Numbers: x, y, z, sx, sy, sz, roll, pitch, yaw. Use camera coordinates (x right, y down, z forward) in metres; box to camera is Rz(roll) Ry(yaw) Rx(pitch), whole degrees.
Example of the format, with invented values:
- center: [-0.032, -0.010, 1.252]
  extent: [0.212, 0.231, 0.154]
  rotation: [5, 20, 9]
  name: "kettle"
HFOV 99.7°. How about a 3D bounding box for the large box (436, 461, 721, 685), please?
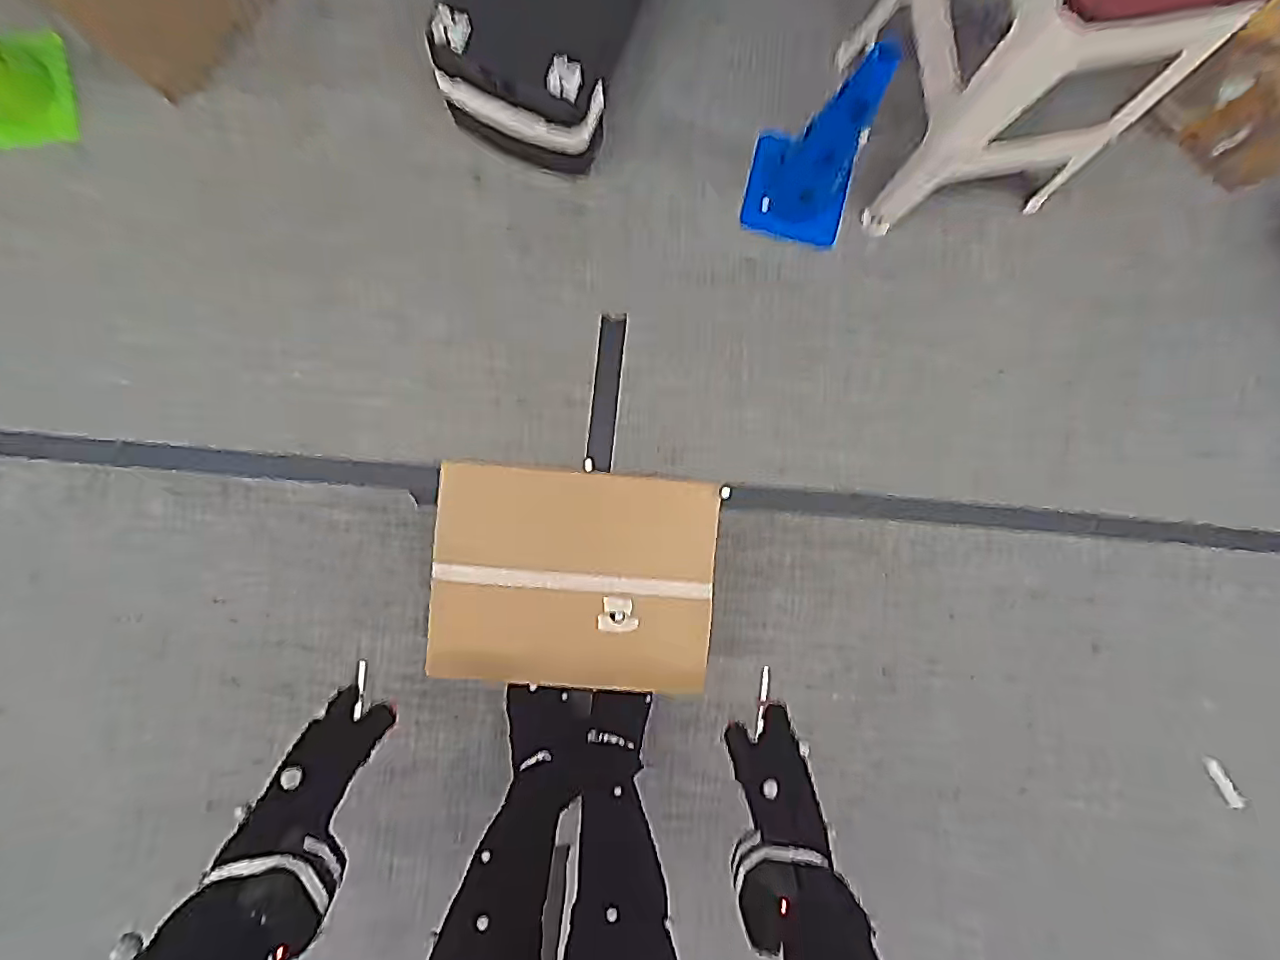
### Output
- center: [-0.099, 0.138, 0.935]
  extent: [0.408, 0.320, 0.320]
  rotation: [5, 91, -4]
  name: "large box"
